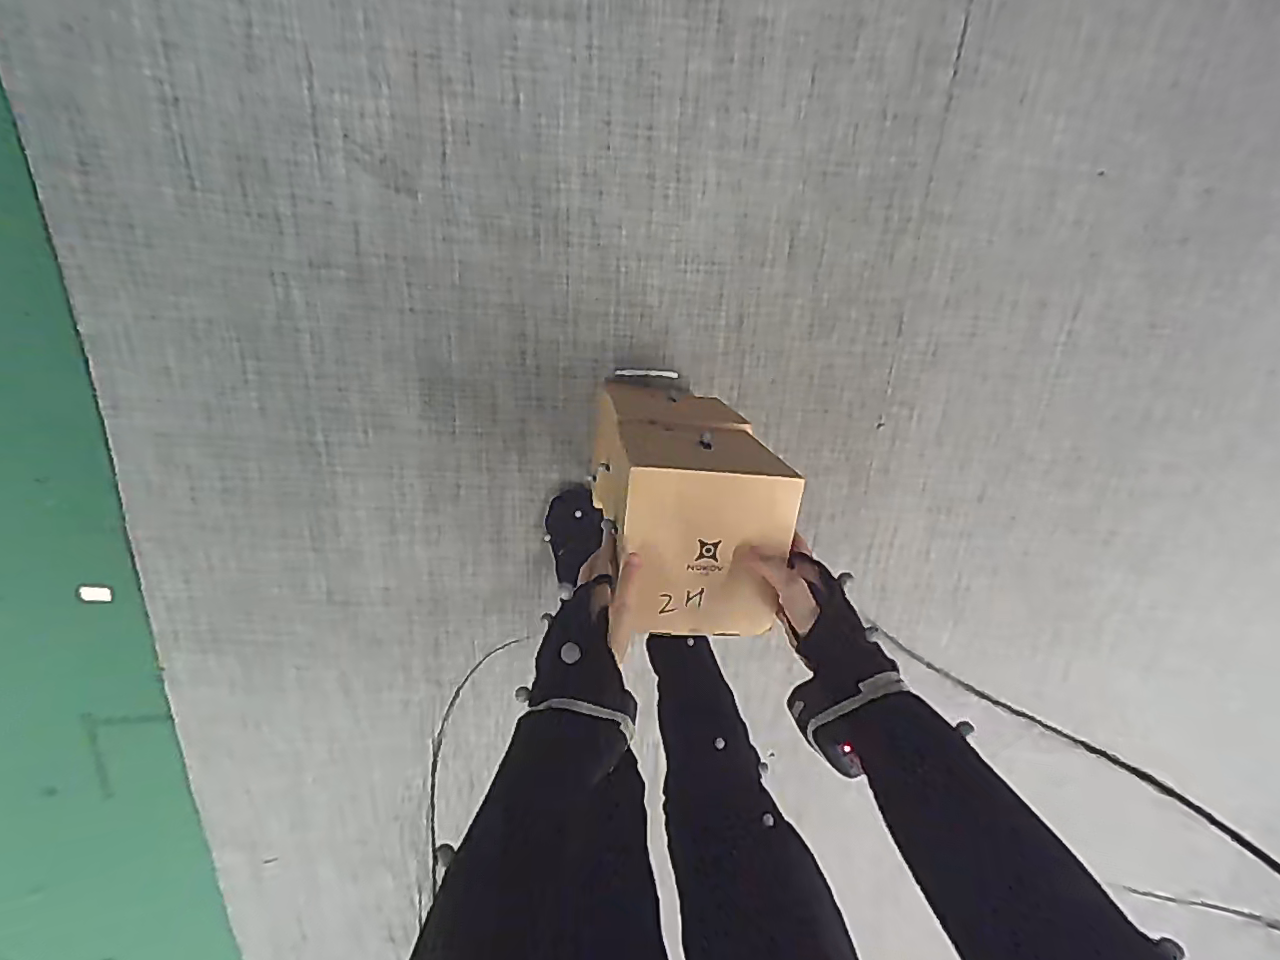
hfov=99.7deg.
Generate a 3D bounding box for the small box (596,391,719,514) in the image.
[{"bbox_3d":[0.018,-0.046,0.909,0.168,0.176,0.179,7,108,-10],"label":"small box"}]

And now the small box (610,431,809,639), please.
[{"bbox_3d":[0.060,0.051,0.597,0.168,0.176,0.179,5,109,-9],"label":"small box"}]
